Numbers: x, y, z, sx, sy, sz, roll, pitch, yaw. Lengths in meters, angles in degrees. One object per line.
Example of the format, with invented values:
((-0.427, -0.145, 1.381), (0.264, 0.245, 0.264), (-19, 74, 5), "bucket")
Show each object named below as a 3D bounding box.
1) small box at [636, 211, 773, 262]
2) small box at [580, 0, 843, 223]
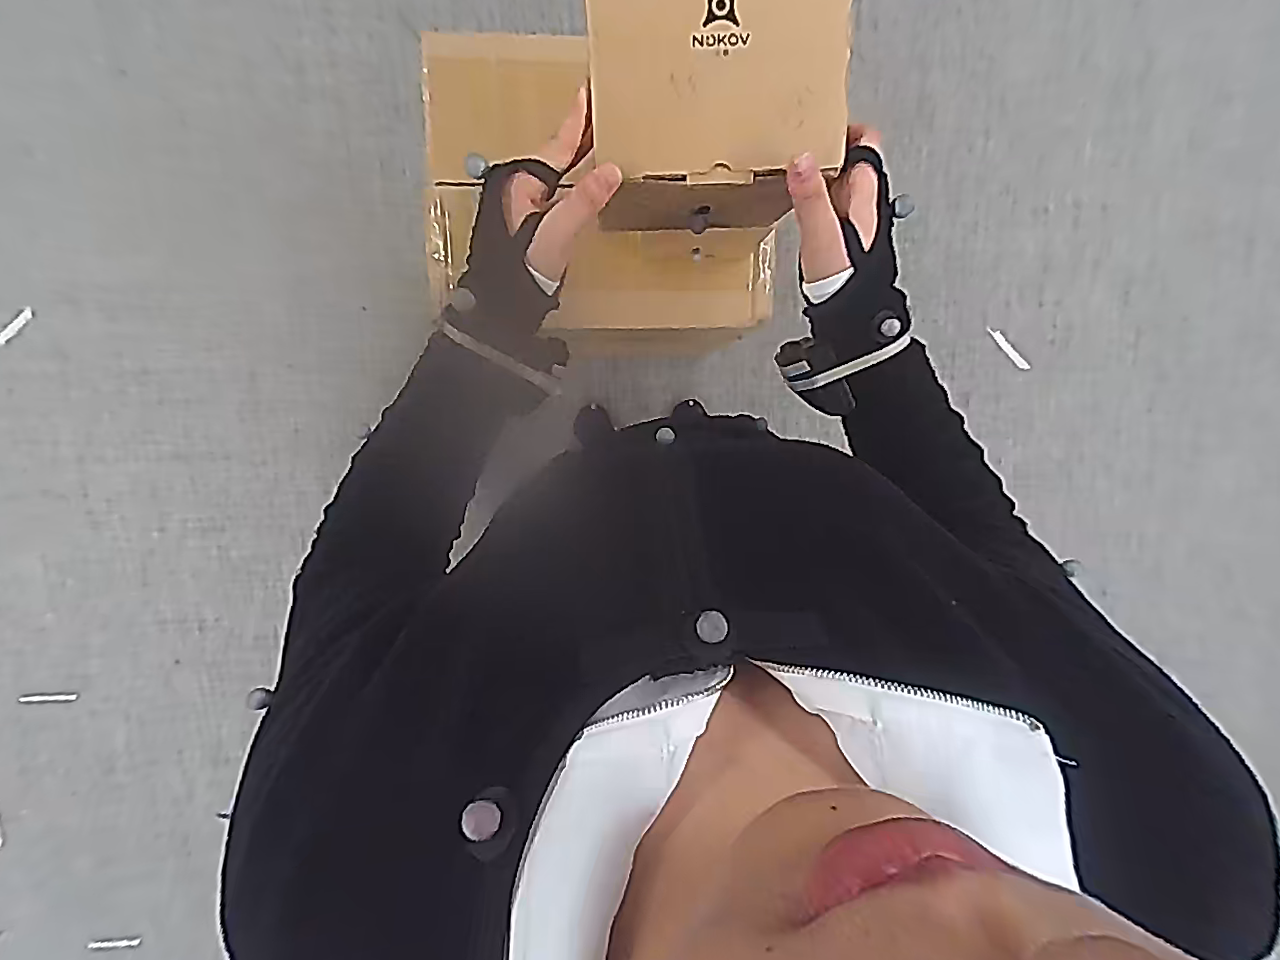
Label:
((0.078, -0.406, 0.727), (0.168, 0.176, 0.179), (-1, 99, -1), "small box")
((0.043, -0.304, 0.415), (0.168, 0.176, 0.179), (-4, 105, -2), "small box")
